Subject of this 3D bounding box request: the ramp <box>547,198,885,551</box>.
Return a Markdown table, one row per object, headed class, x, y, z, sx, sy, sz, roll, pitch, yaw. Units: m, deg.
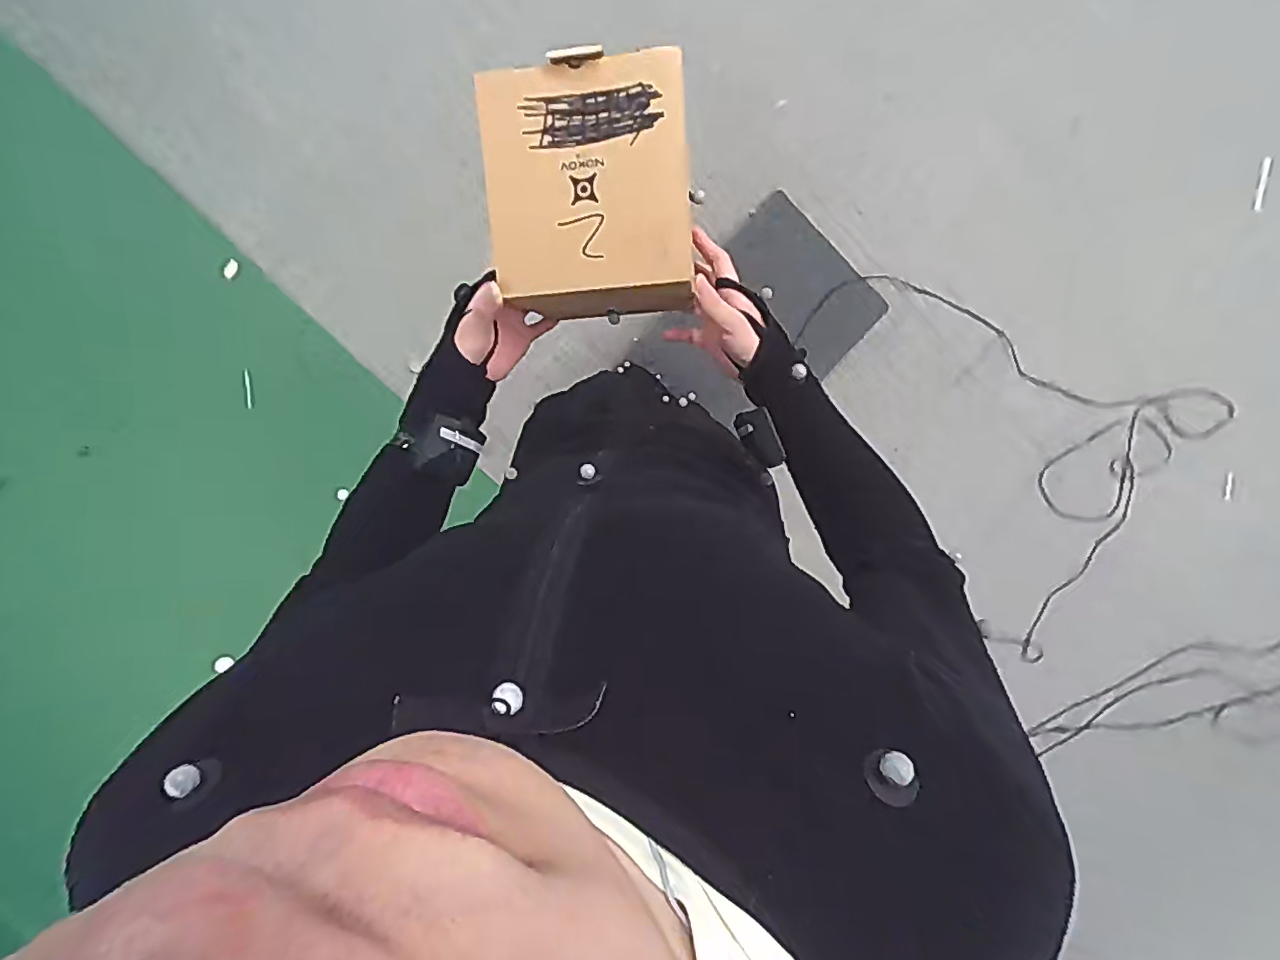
| class | x | y | z | sx | sy | sz | roll | pitch | yaw |
| --- | --- | --- | --- | --- | --- | --- | --- | --- | --- |
| ramp | 0.229 | -0.306 | 1.613 | 0.509 | 0.206 | 0.991 | 41 | 101 | -6 |
